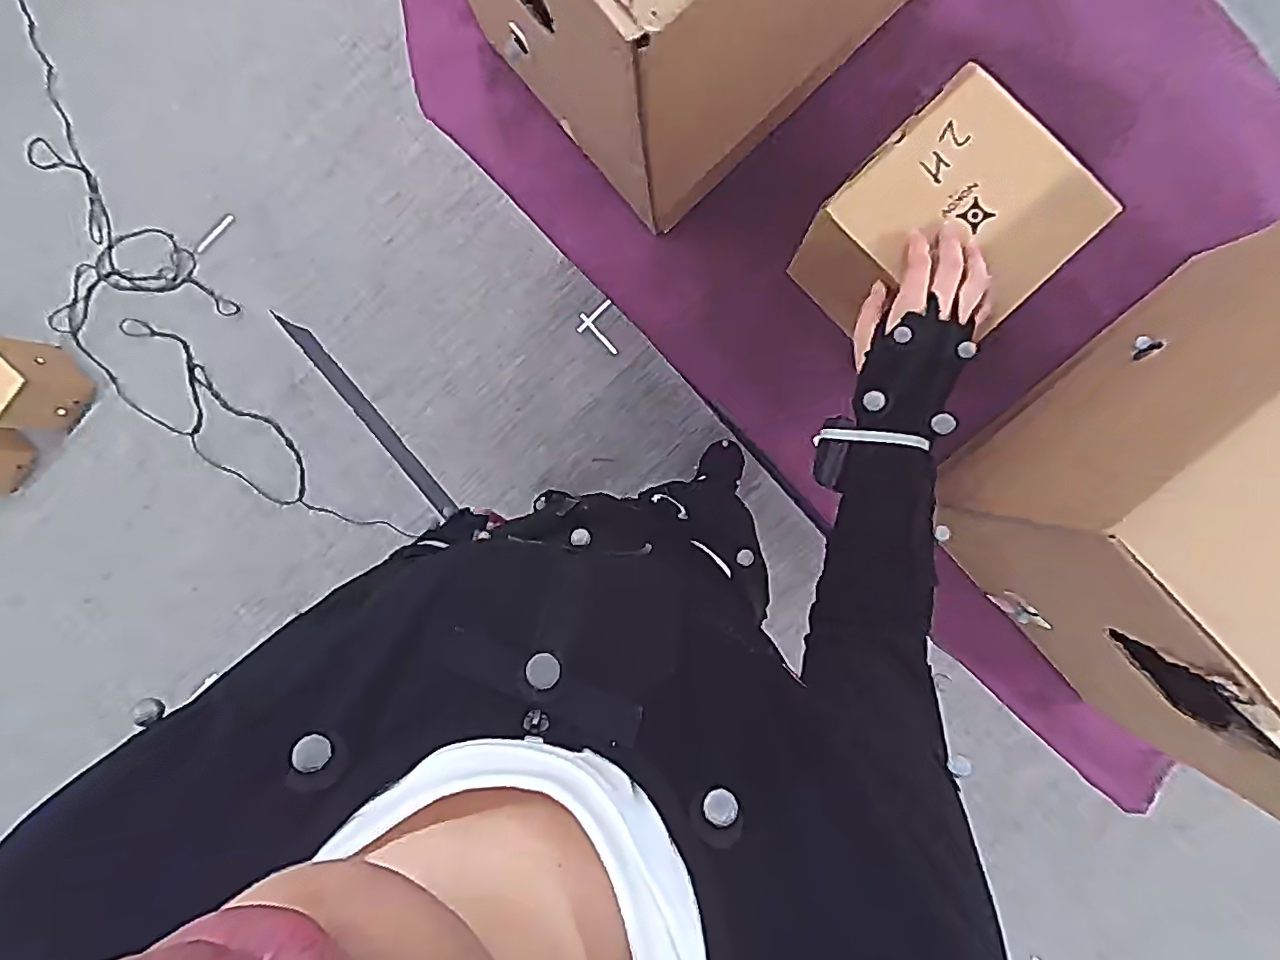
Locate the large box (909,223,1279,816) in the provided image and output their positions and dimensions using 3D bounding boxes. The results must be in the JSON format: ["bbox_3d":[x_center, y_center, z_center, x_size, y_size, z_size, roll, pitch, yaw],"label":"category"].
[{"bbox_3d":[0.526,0.011,0.437,0.408,0.320,0.320,-42,89,4],"label":"large box"}]

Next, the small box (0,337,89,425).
[{"bbox_3d":[-1.642,-0.257,1.426,0.179,0.176,0.168,44,96,1],"label":"small box"}]
